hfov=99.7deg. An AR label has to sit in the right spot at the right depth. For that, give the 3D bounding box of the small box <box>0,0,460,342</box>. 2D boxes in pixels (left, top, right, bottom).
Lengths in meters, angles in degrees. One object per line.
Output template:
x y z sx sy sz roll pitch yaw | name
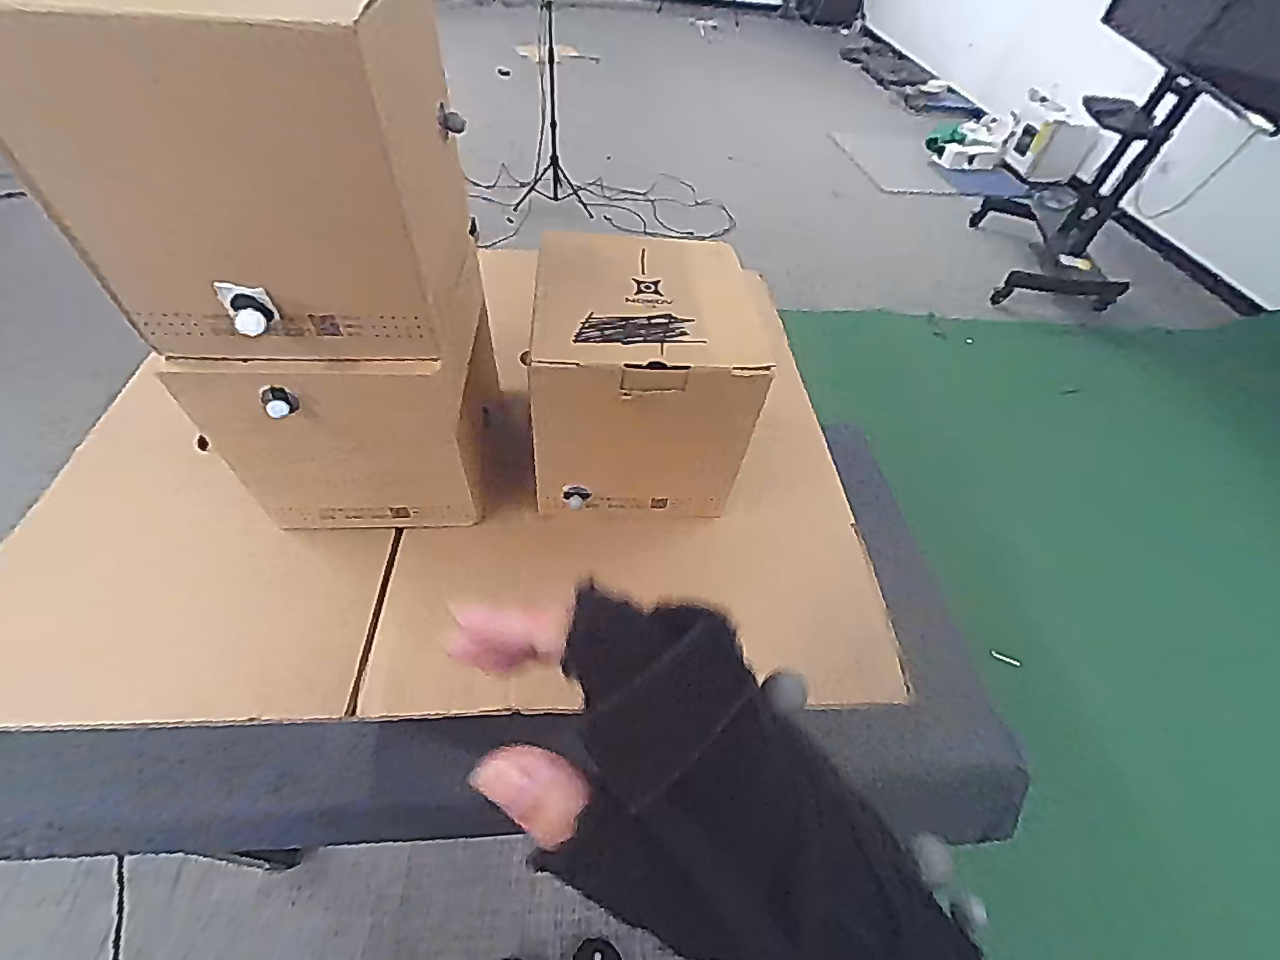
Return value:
-0.207 -0.201 0.312 0.168 0.176 0.179 -3 53 -7 | small box

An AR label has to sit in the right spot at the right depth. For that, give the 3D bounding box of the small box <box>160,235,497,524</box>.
-0.218 -0.083 0.444 0.168 0.176 0.179 -1 51 -4 | small box
